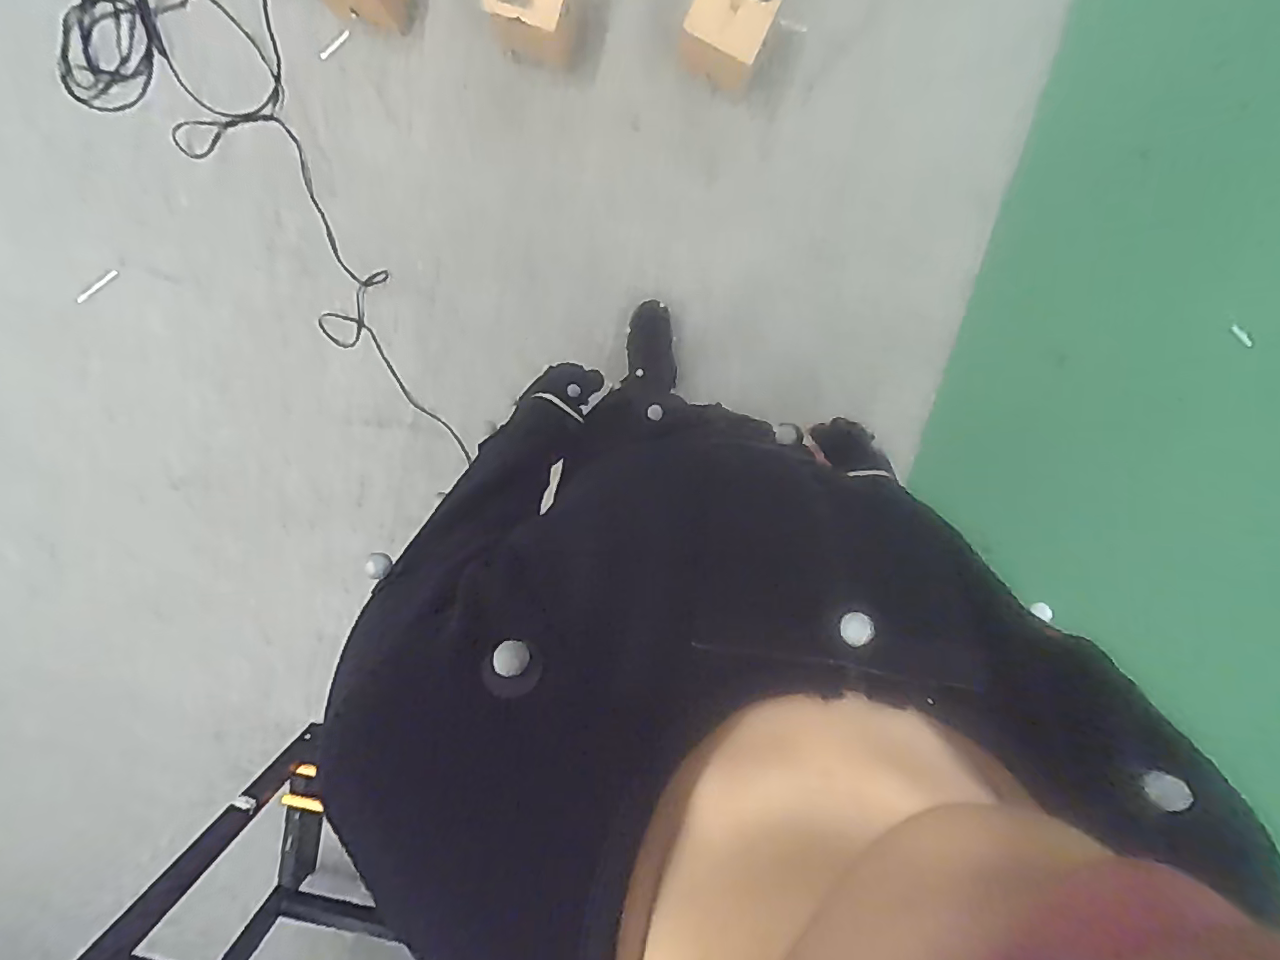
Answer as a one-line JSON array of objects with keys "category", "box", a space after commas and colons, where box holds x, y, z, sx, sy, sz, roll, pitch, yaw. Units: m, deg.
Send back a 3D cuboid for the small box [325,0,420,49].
[{"category": "small box", "box": [-0.611, -1.131, 1.216, 0.168, 0.176, 0.179, 13, 101, 0]}]
